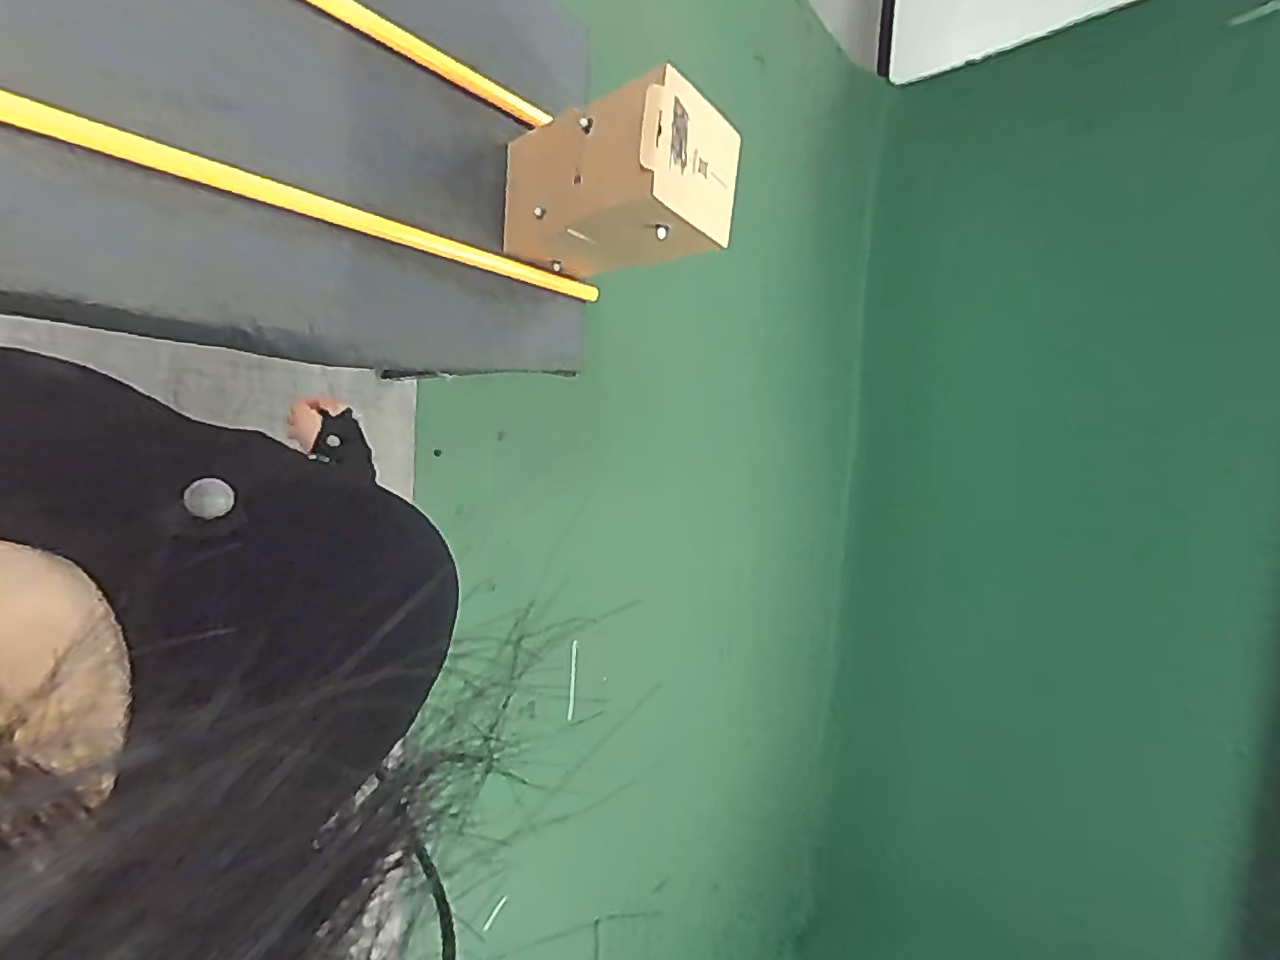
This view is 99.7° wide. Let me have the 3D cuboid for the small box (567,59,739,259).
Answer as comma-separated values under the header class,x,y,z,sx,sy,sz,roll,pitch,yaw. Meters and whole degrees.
class,x,y,z,sx,sy,sz,roll,pitch,yaw
small box,0.017,-0.434,0.771,0.179,0.176,0.168,5,92,-48
